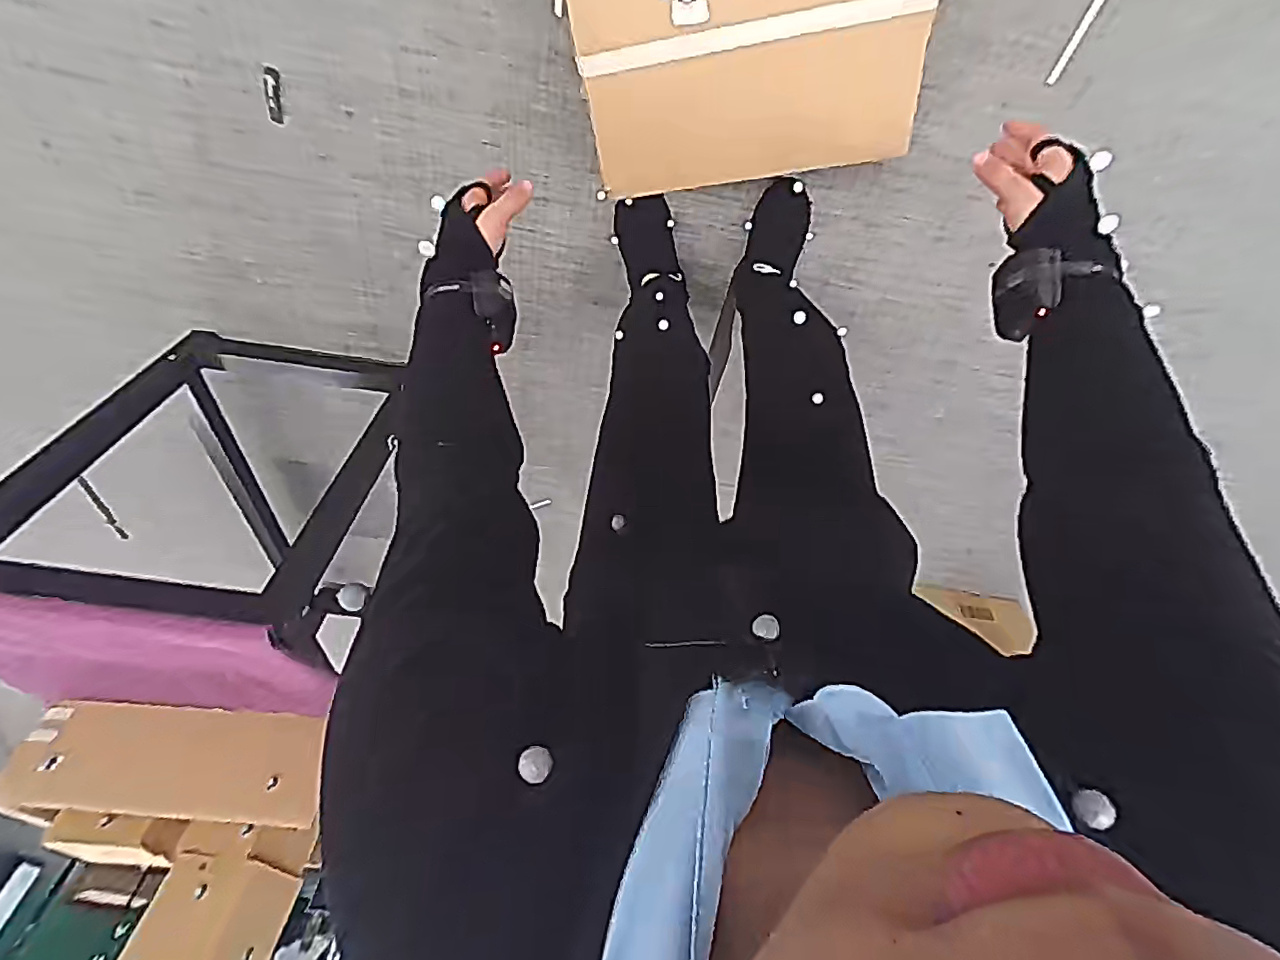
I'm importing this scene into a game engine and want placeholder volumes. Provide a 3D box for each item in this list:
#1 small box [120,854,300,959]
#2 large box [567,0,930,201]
[{"bbox_3d":[-0.783,0.822,1.006,0.168,0.176,0.179,2,134,6],"label":"small box"},{"bbox_3d":[0.135,-0.620,0.723,0.408,0.320,0.320,-4,134,10],"label":"large box"}]
